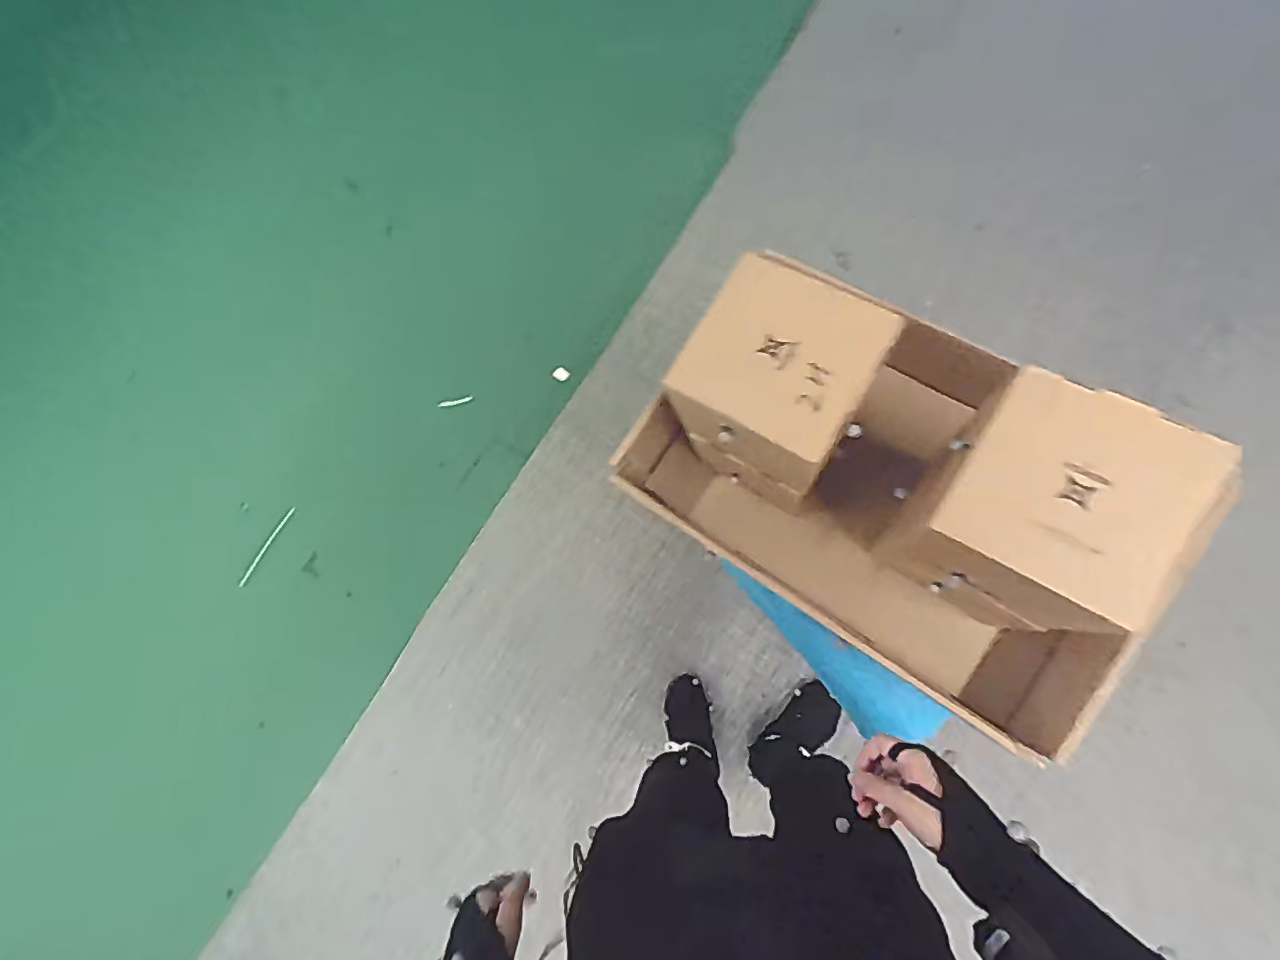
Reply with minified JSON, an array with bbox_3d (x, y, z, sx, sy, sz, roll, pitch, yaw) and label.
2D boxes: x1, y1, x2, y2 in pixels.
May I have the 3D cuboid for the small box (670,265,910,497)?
[{"bbox_3d":[0.161,-0.098,0.607,0.179,0.176,0.168,32,87,18],"label":"small box"}]

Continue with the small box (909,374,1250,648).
[{"bbox_3d":[0.387,0.036,0.518,0.168,0.176,0.179,32,86,21],"label":"small box"}]
